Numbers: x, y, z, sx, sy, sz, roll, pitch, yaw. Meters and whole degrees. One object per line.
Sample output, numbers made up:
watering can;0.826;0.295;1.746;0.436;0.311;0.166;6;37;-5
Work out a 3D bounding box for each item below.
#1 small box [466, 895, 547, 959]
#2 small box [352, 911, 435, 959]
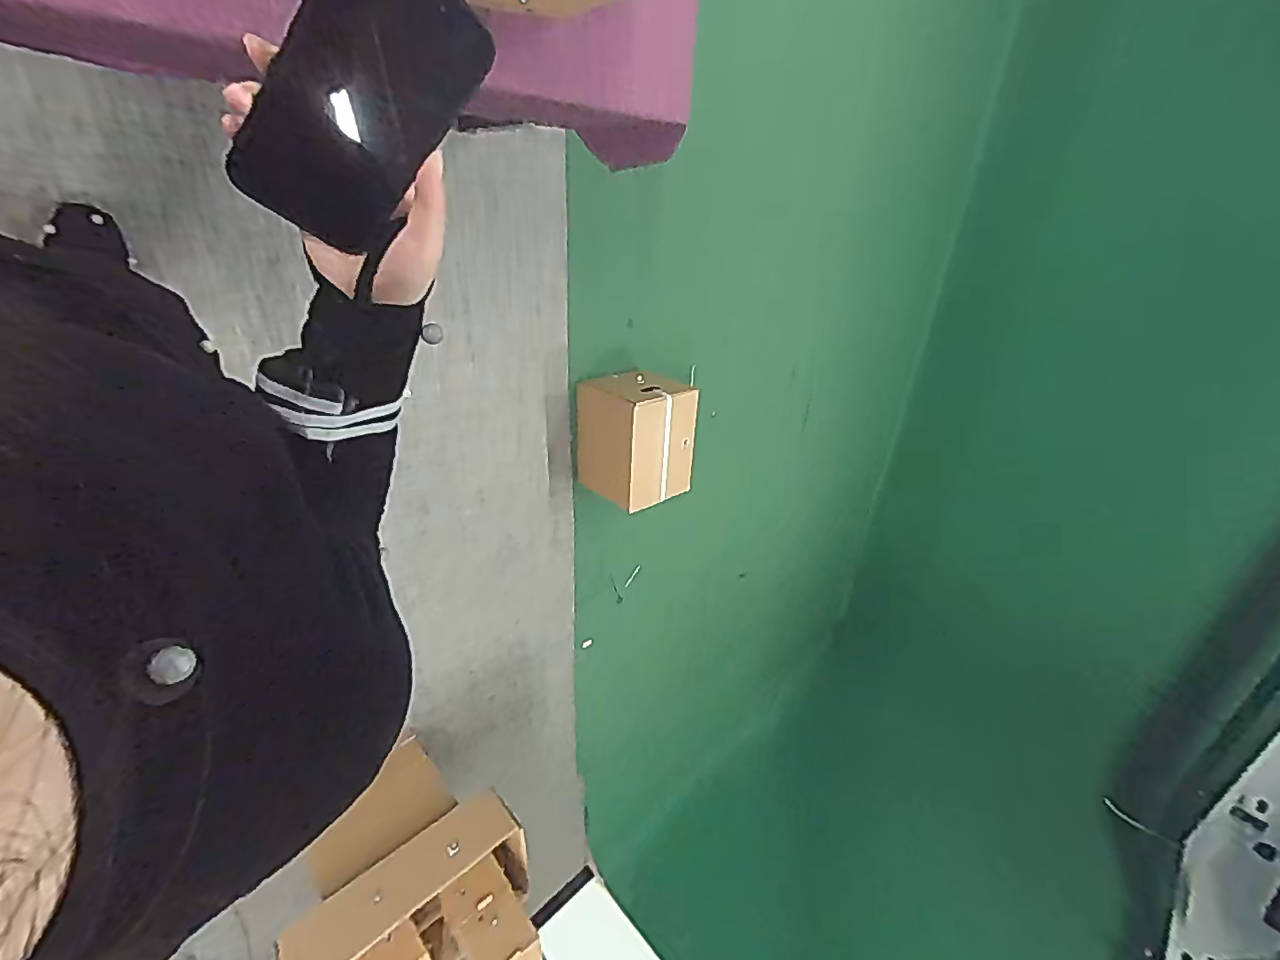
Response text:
small box;-0.381;1.354;1.551;0.168;0.176;0.179;-22;125;-37
small box;-0.674;1.366;1.505;0.168;0.176;0.179;-23;126;-38
